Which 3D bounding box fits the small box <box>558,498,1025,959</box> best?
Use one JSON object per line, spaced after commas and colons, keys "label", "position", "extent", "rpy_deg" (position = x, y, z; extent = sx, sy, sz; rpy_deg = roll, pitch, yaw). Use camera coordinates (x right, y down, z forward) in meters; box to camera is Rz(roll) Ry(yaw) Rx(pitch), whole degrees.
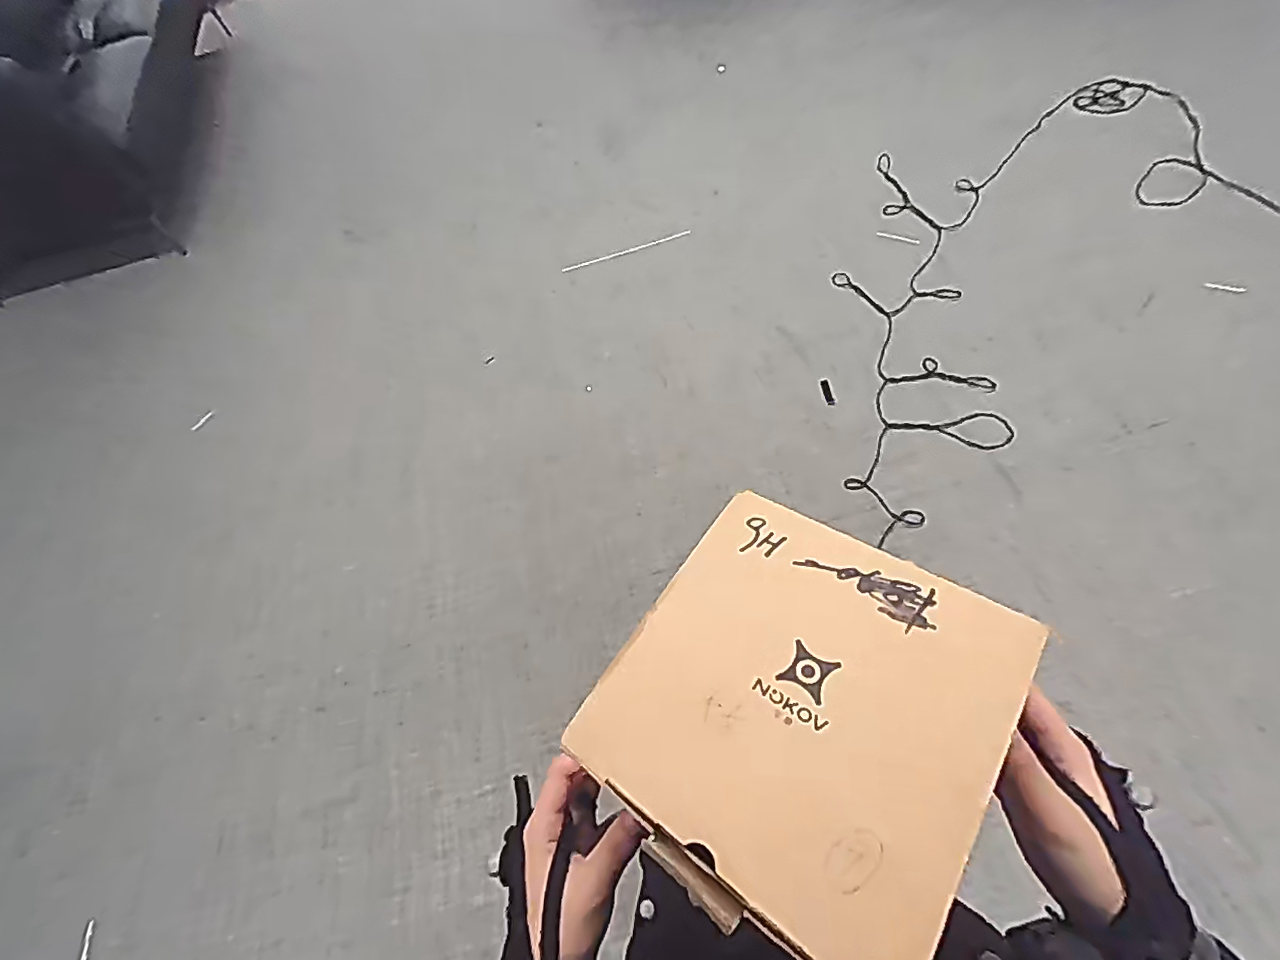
{"label": "small box", "position": [0.087, 0.150, 0.326], "extent": [0.168, 0.176, 0.179], "rpy_deg": [27, 64, 29]}
